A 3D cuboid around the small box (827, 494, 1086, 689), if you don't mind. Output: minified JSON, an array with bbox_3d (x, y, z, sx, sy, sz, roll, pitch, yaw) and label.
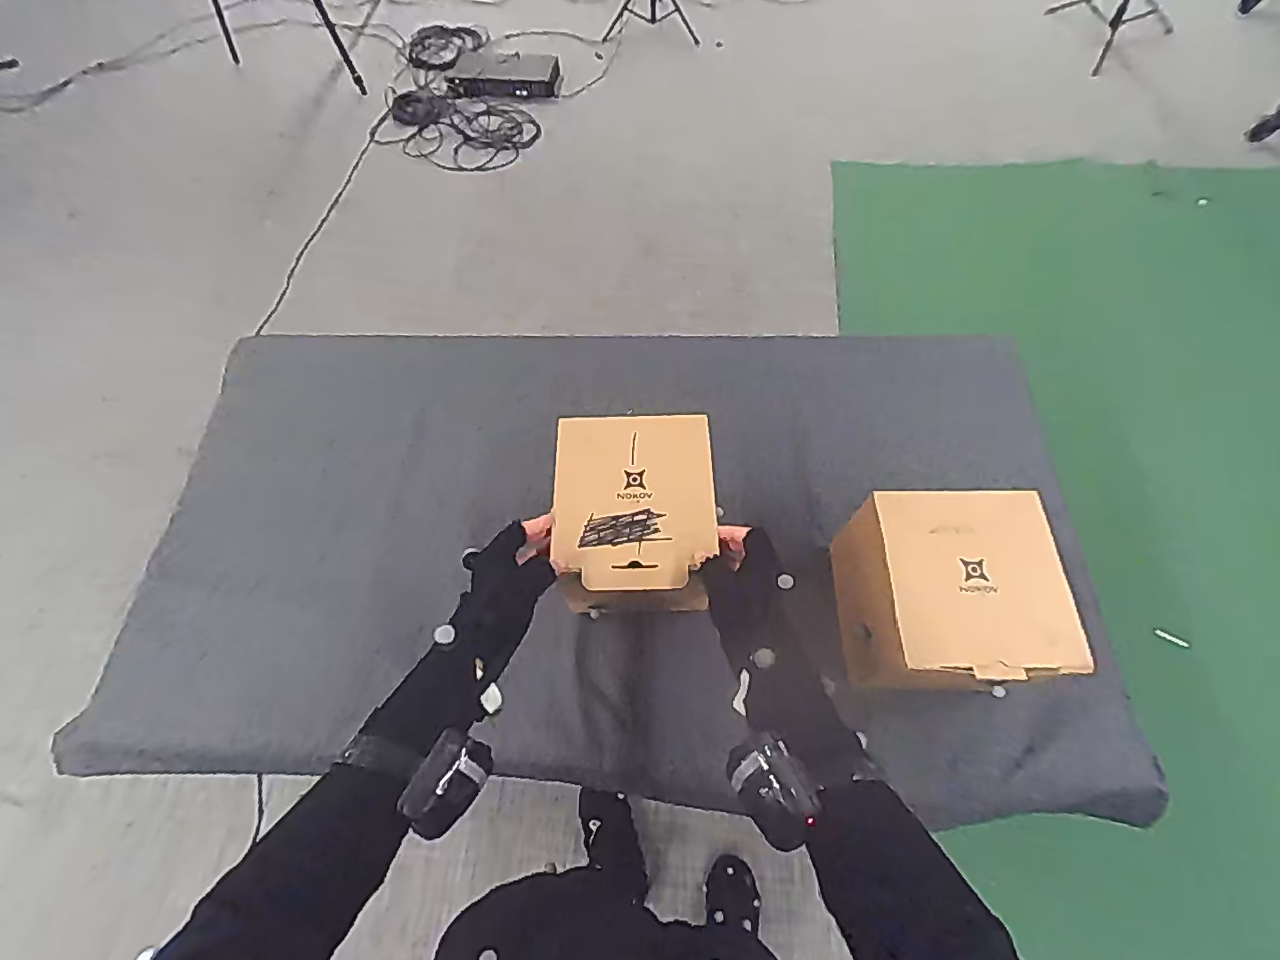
[{"bbox_3d":[0.316,0.128,0.586,0.168,0.176,0.179,0,63,2],"label":"small box"}]

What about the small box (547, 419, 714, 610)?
[{"bbox_3d":[-0.006,0.049,0.628,0.168,0.176,0.179,-2,62,1],"label":"small box"}]
